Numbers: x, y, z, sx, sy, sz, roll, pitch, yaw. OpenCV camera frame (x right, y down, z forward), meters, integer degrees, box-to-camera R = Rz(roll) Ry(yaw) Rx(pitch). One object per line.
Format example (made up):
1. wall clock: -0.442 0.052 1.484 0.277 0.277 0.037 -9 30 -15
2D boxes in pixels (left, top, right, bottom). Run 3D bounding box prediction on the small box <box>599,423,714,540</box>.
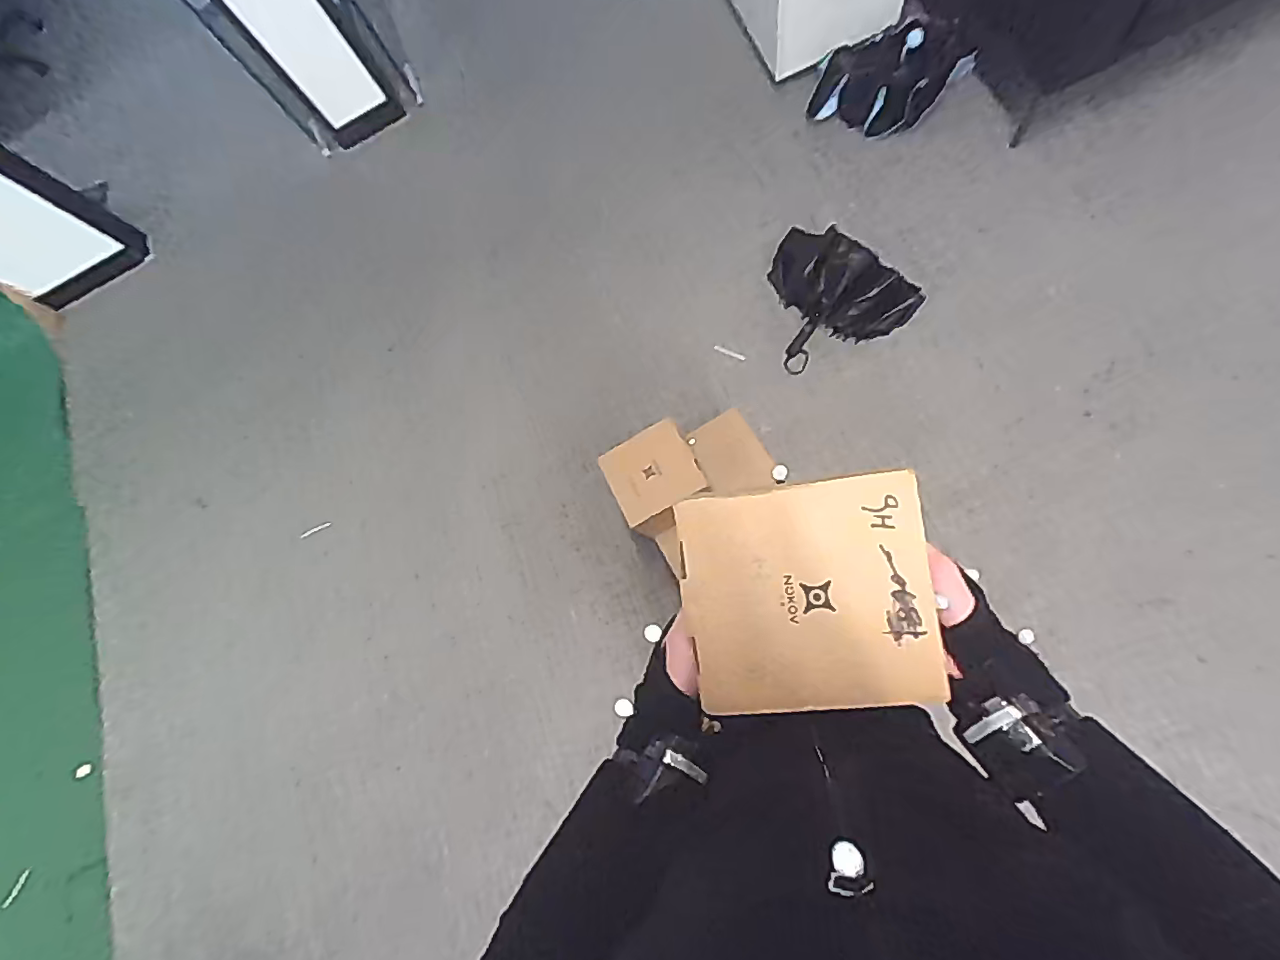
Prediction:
1. small box: 0.044 0.011 1.134 0.179 0.176 0.168 -30 70 8
